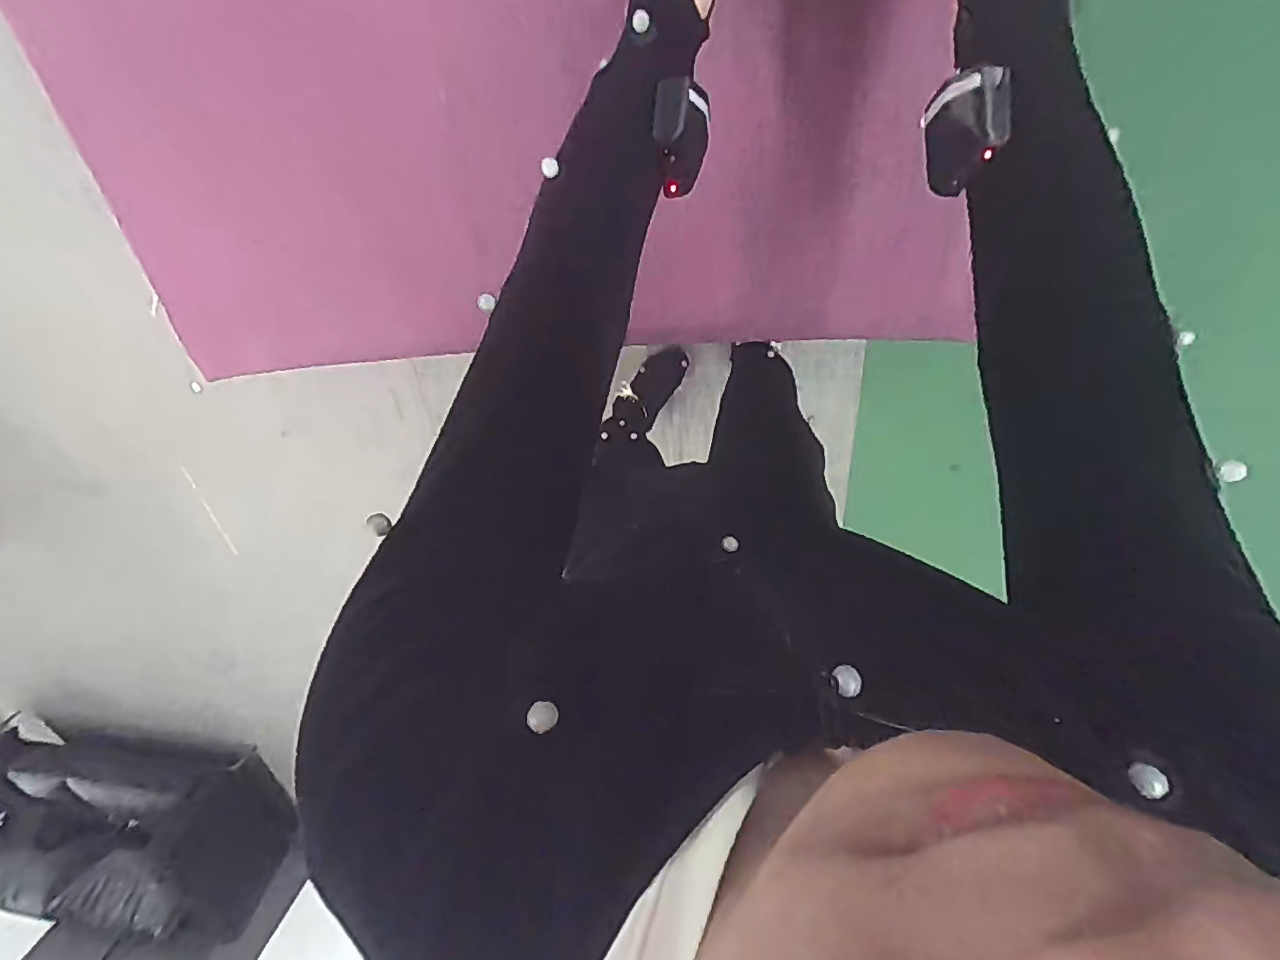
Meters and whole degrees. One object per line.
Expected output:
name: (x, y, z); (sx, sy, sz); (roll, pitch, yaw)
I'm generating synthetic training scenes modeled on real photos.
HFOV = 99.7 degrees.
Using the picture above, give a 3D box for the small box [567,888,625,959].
small box: (-0.154, 1.601, 1.963); (0.168, 0.176, 0.179); (4, 119, 13)

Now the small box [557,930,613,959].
small box: (-0.191, 1.667, 1.815); (0.168, 0.176, 0.179); (2, 118, 13)
